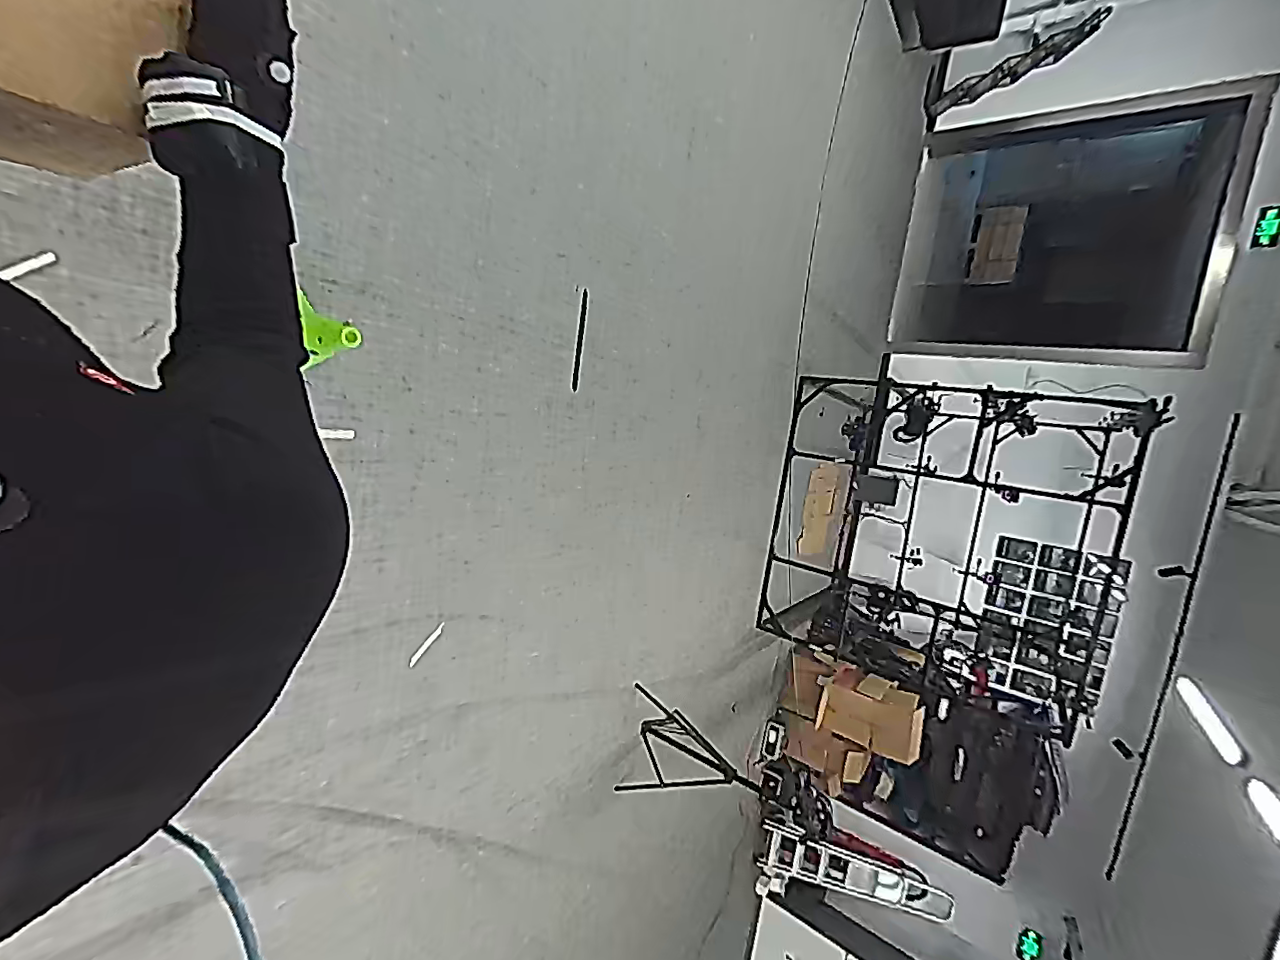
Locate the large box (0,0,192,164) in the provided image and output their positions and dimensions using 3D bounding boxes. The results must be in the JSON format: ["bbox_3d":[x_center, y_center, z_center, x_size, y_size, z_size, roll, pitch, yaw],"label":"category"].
[{"bbox_3d":[-0.549,-0.419,0.289,0.408,0.320,0.320,-8,111,-56],"label":"large box"}]
